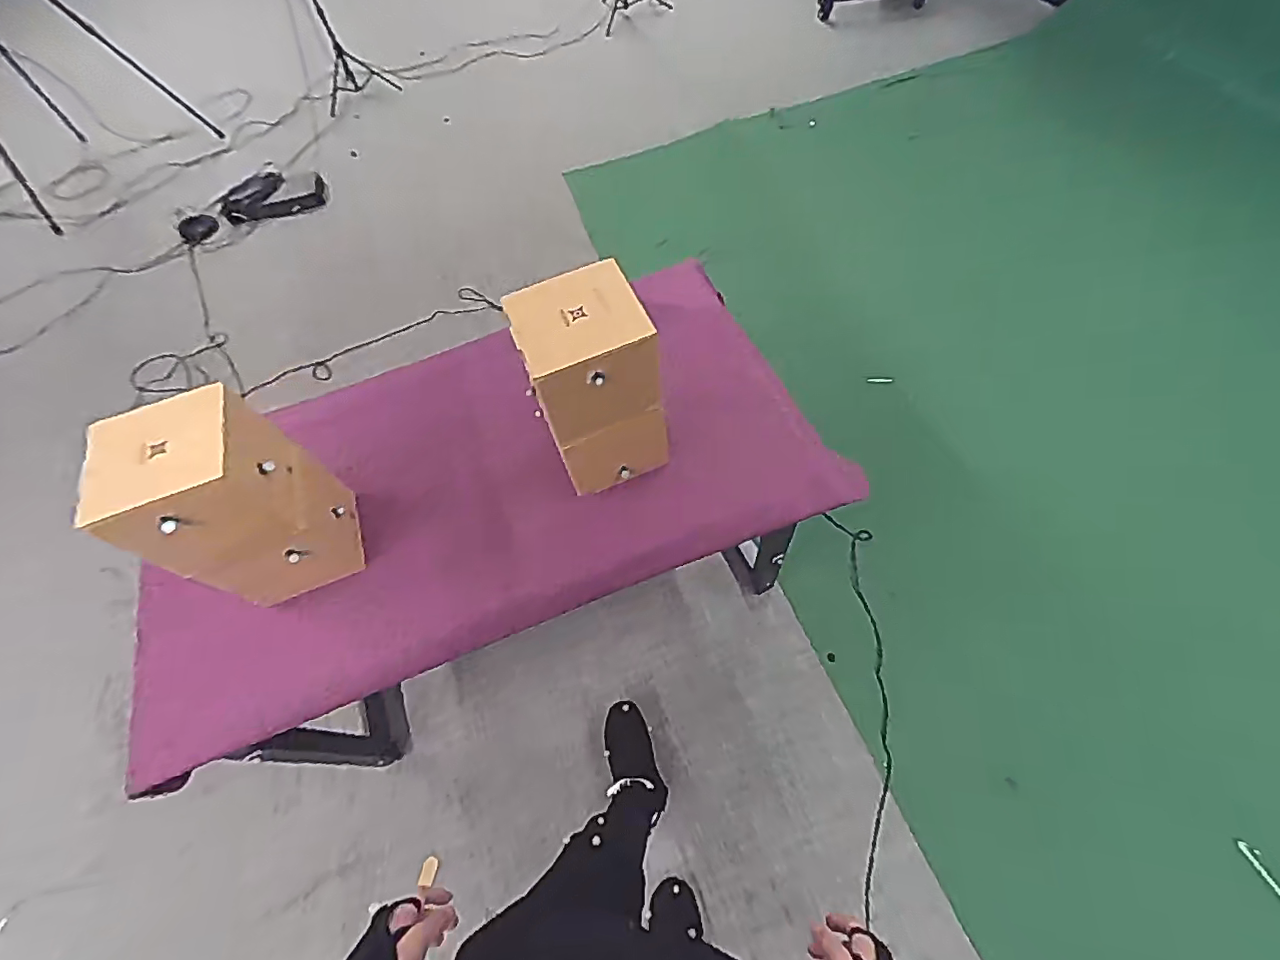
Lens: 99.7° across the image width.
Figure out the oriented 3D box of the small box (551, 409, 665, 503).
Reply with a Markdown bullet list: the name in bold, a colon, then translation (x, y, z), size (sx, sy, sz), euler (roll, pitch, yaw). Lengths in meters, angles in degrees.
- **small box**: translation (-0.064, -0.088, 0.948), size (0.179, 0.176, 0.168), euler (-23, 60, -7)

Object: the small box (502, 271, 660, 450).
- **small box**: translation (-0.081, -0.170, 0.807), size (0.179, 0.176, 0.168), euler (-22, 61, -6)

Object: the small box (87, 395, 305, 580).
- **small box**: translation (-0.601, 0.016, 0.760), size (0.179, 0.176, 0.168), euler (-22, 61, -6)

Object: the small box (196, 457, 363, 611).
- **small box**: translation (-0.587, 0.094, 0.901), size (0.179, 0.176, 0.168), euler (-21, 60, -7)
